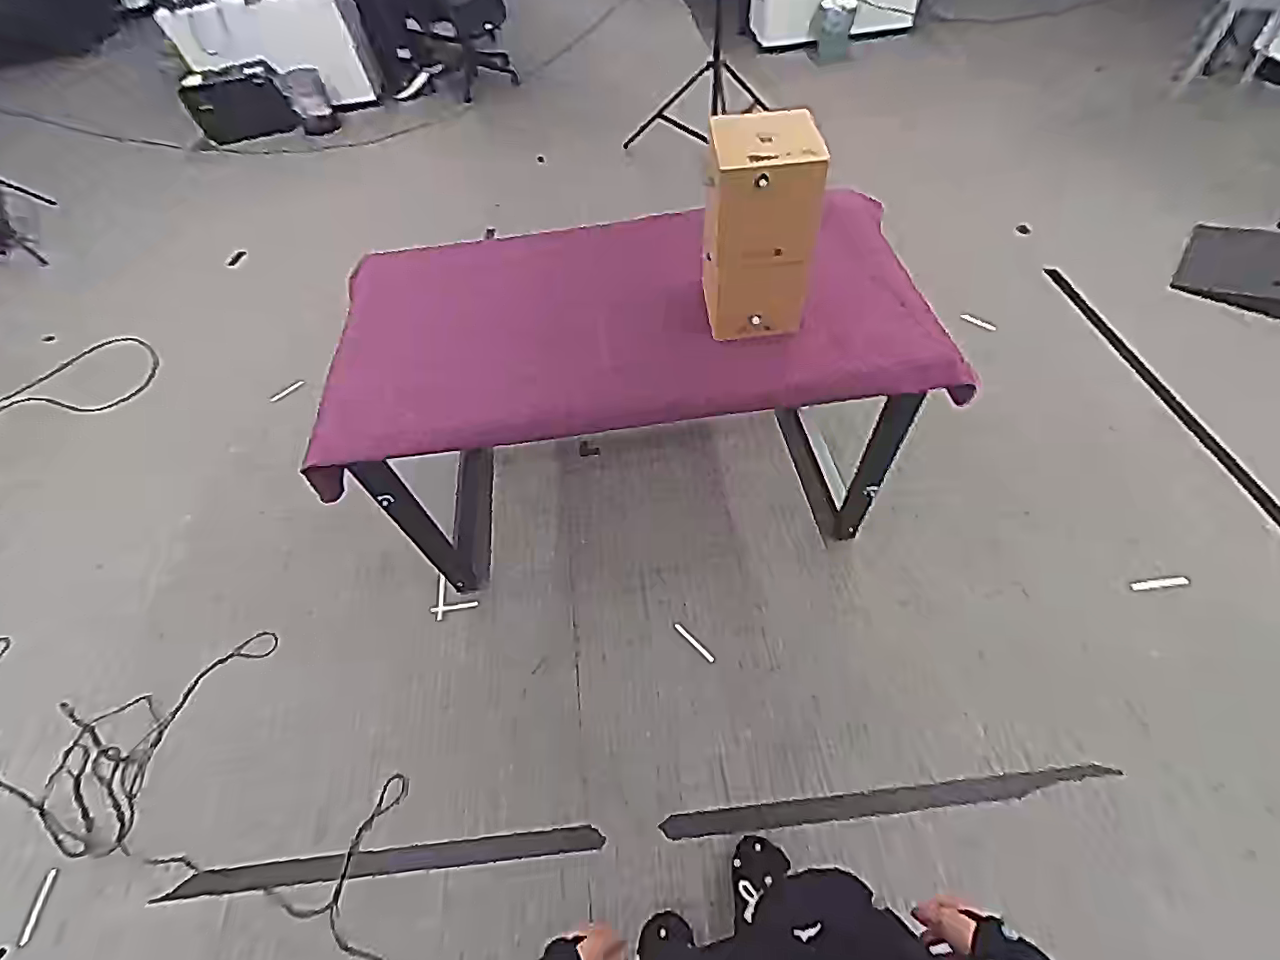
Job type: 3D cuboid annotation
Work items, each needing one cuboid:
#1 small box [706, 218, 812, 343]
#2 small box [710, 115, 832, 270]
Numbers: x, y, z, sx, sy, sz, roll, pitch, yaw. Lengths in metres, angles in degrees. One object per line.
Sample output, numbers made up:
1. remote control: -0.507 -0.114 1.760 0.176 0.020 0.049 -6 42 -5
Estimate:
1. small box: 0.220 -0.392 1.049 0.168 0.176 0.179 -6 56 2
2. small box: 0.207 -0.481 0.911 0.168 0.176 0.179 -4 54 4
